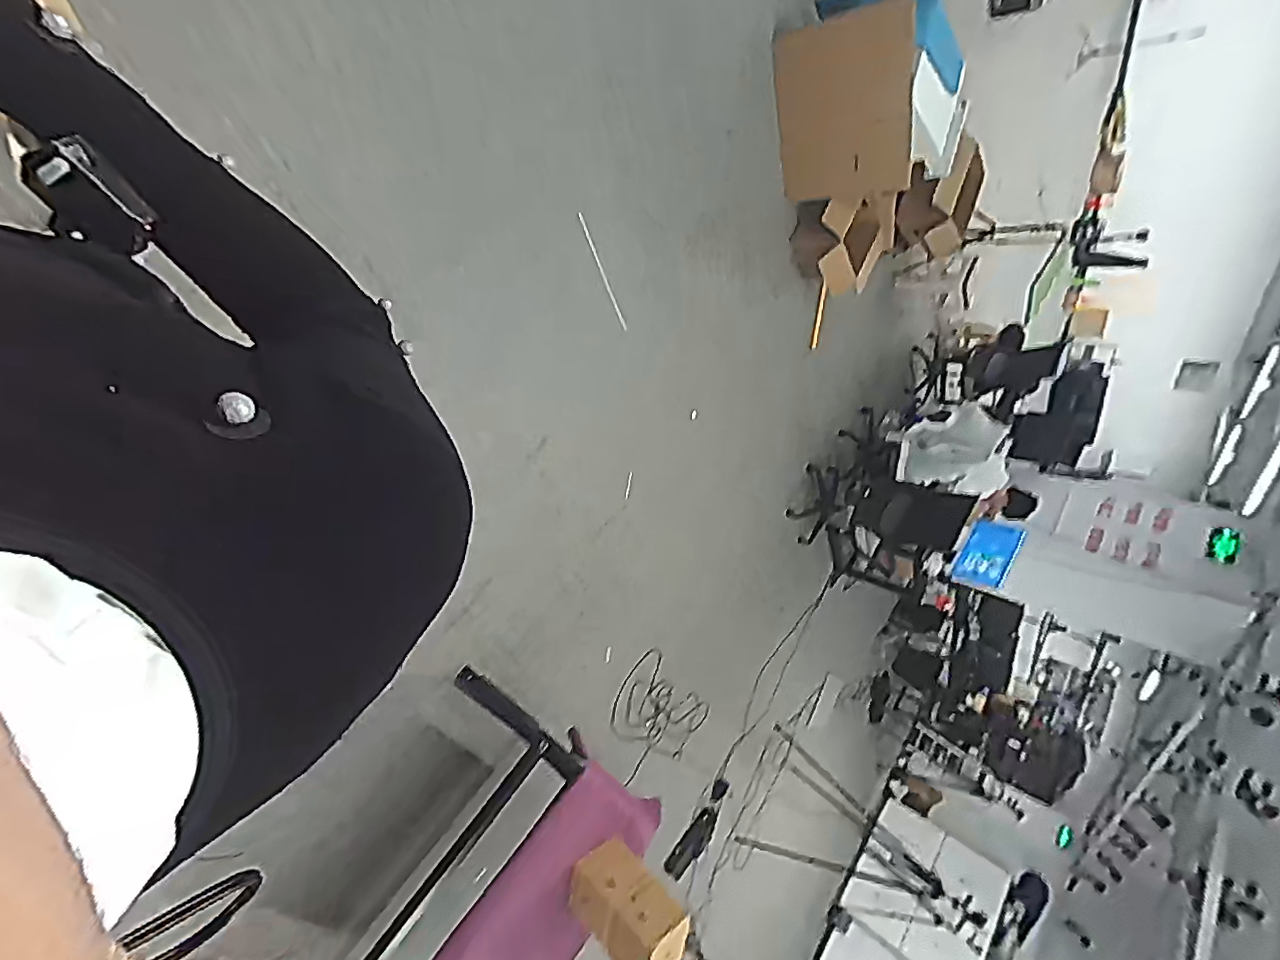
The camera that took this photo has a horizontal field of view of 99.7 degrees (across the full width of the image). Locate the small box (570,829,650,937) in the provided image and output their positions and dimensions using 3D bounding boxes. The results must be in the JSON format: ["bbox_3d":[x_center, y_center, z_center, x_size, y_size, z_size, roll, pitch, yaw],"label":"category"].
[{"bbox_3d":[-0.098,1.256,1.698,0.179,0.176,0.168,-3,108,-47],"label":"small box"}]

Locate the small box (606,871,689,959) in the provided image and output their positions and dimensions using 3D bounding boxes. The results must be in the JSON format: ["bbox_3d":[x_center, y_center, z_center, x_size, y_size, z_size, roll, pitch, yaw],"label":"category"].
[{"bbox_3d":[0.017,1.303,1.593,0.168,0.176,0.179,-3,107,-46],"label":"small box"}]
